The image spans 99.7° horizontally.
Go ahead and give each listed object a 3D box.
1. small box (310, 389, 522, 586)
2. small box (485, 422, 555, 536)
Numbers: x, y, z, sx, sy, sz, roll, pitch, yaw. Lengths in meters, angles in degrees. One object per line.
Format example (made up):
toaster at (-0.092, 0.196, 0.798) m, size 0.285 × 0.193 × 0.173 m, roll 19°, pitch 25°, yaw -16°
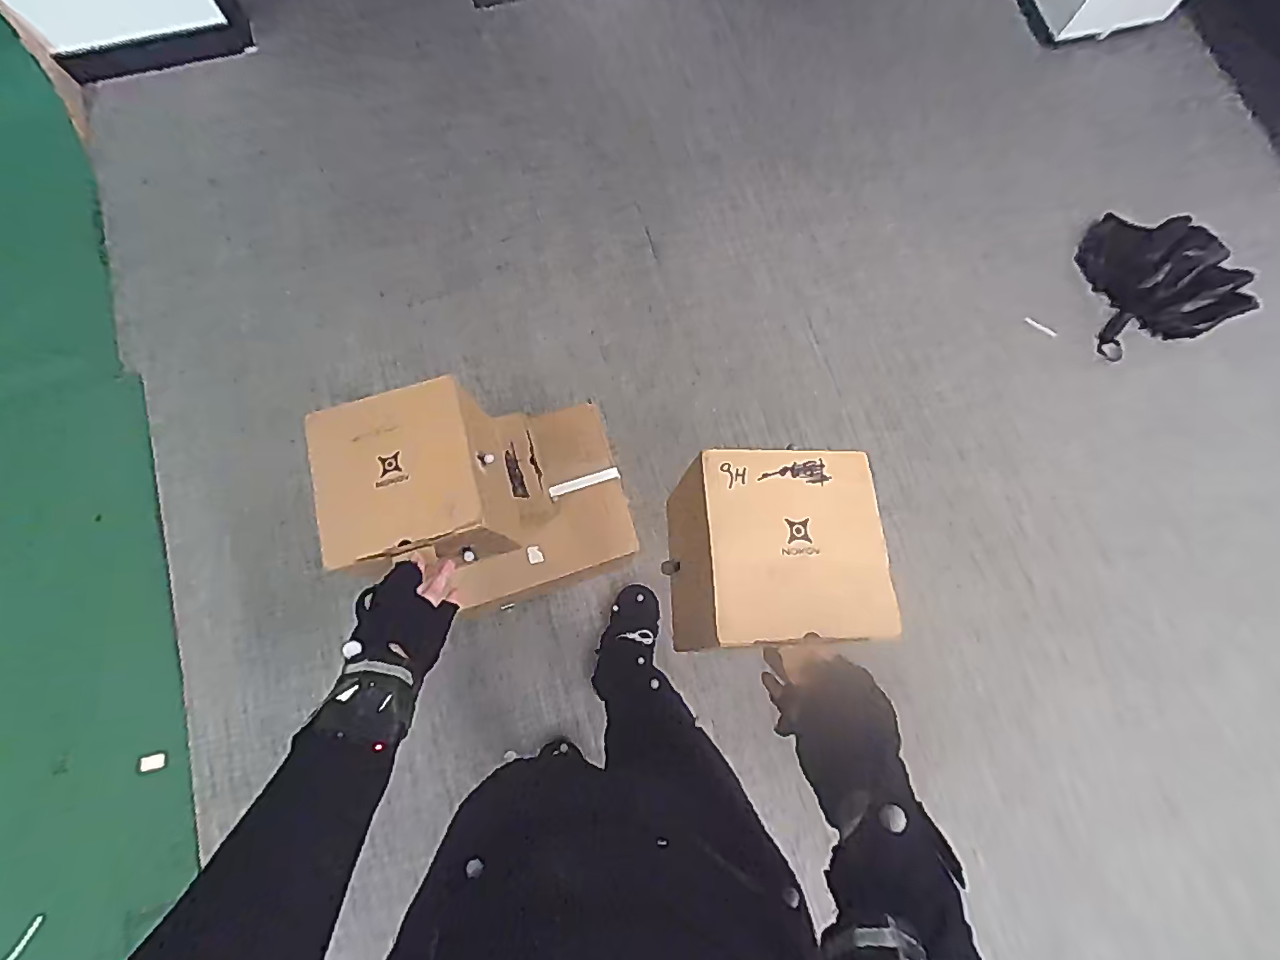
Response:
small box at (-0.255, 0.022, 0.651) m, size 0.168 × 0.176 × 0.179 m, roll -18°, pitch 74°, yaw -2°
small box at (-0.250, 0.018, 0.925) m, size 0.179 × 0.176 × 0.168 m, roll -18°, pitch 84°, yaw -7°
